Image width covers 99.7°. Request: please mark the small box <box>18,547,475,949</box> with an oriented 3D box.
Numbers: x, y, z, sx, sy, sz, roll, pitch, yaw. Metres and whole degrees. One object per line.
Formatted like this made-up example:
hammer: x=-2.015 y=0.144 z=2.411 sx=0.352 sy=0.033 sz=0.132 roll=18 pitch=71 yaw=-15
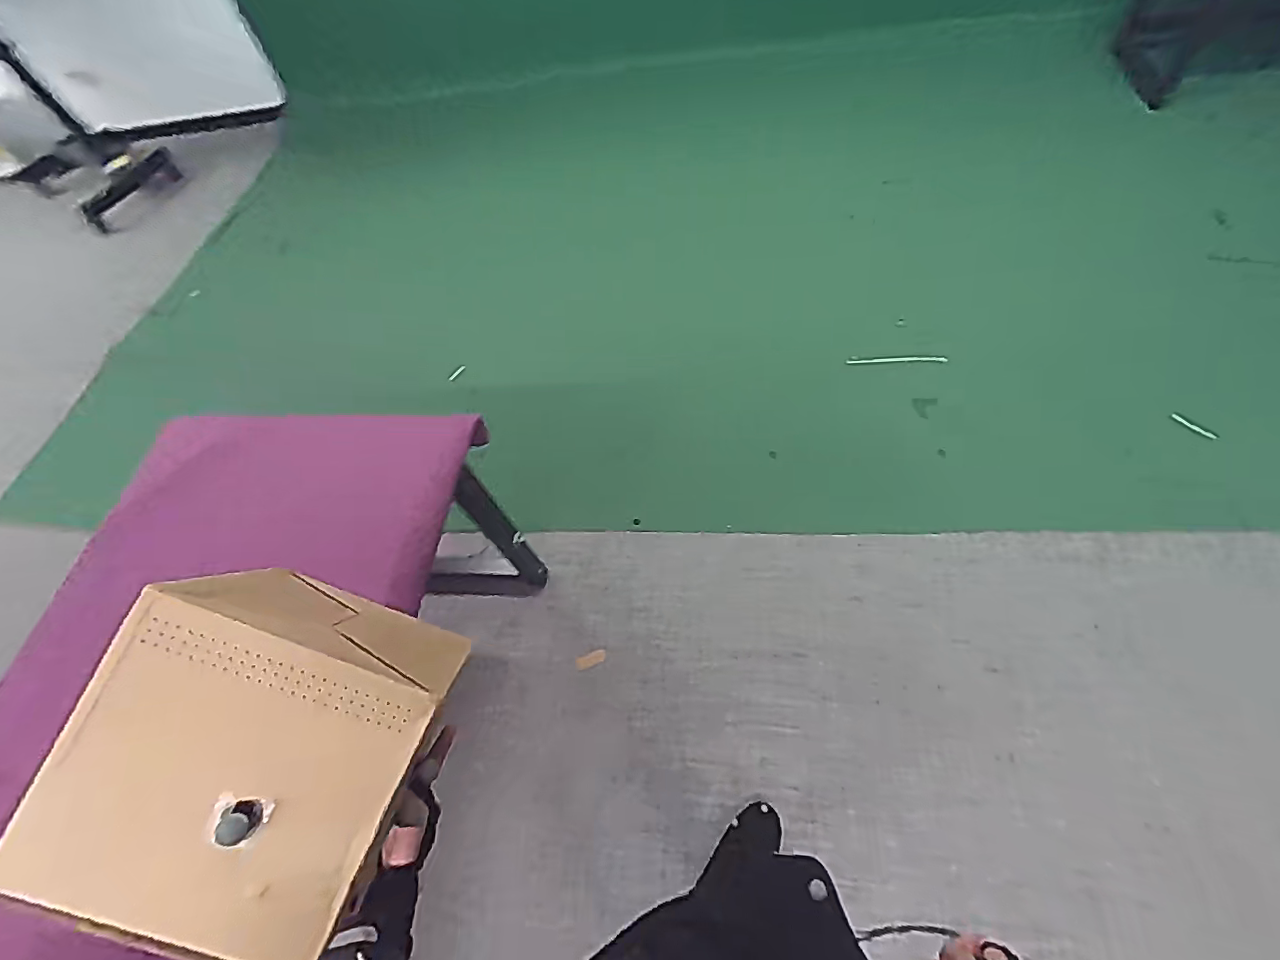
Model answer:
small box: x=-0.230 y=0.158 z=0.379 sx=0.179 sy=0.168 sz=0.176 roll=24 pitch=81 yaw=-6
